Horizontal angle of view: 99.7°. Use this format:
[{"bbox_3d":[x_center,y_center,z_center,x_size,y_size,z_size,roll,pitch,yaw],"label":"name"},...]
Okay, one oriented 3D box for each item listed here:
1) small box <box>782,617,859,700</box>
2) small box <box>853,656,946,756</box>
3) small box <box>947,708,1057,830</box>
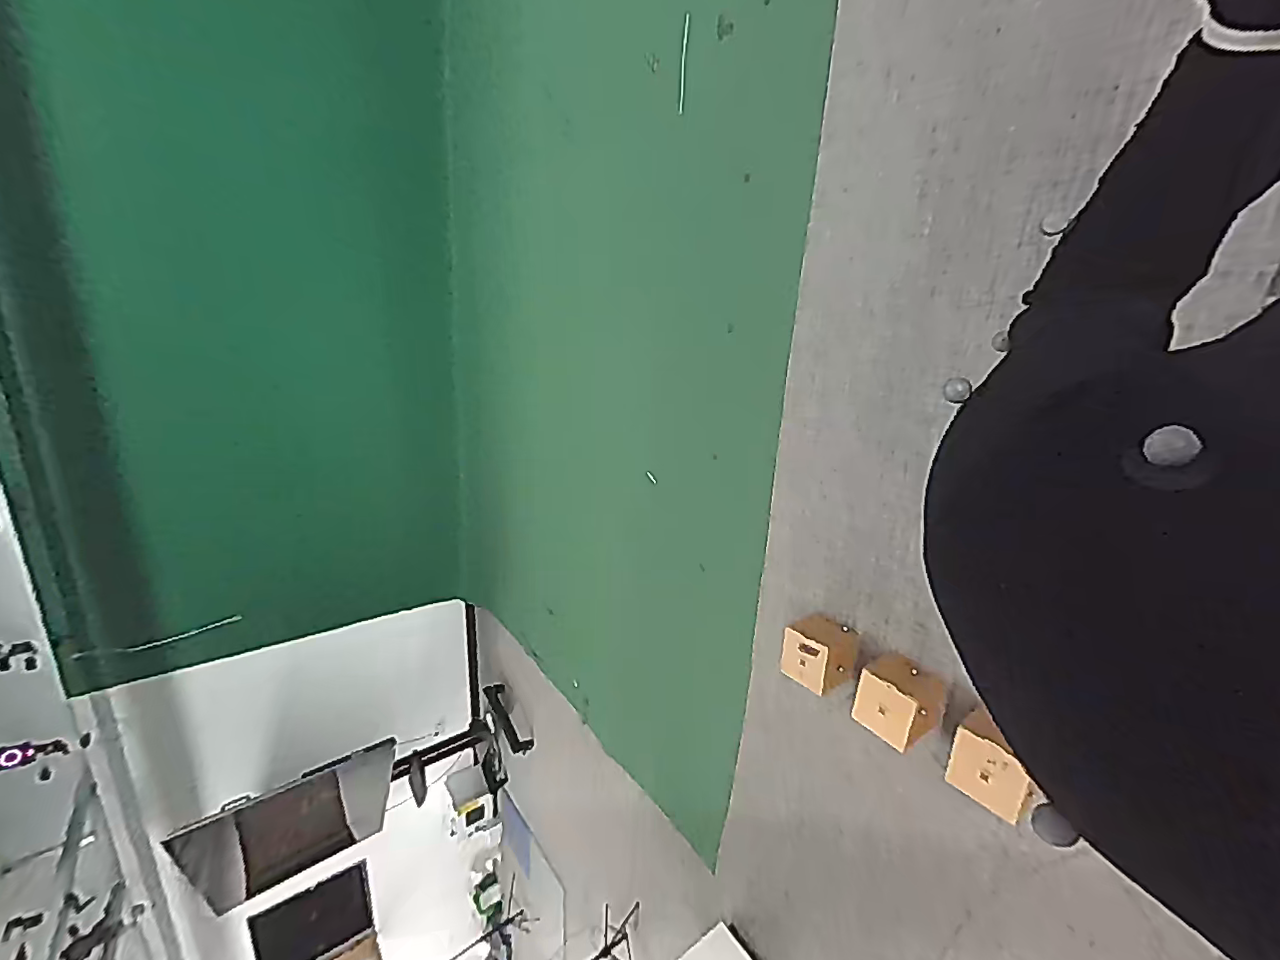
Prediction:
[{"bbox_3d":[0.589,0.573,1.764,0.168,0.176,0.179,21,114,50],"label":"small box"},{"bbox_3d":[0.750,0.644,1.560,0.168,0.176,0.179,26,117,49],"label":"small box"},{"bbox_3d":[0.907,0.714,1.354,0.168,0.176,0.179,23,114,49],"label":"small box"}]
